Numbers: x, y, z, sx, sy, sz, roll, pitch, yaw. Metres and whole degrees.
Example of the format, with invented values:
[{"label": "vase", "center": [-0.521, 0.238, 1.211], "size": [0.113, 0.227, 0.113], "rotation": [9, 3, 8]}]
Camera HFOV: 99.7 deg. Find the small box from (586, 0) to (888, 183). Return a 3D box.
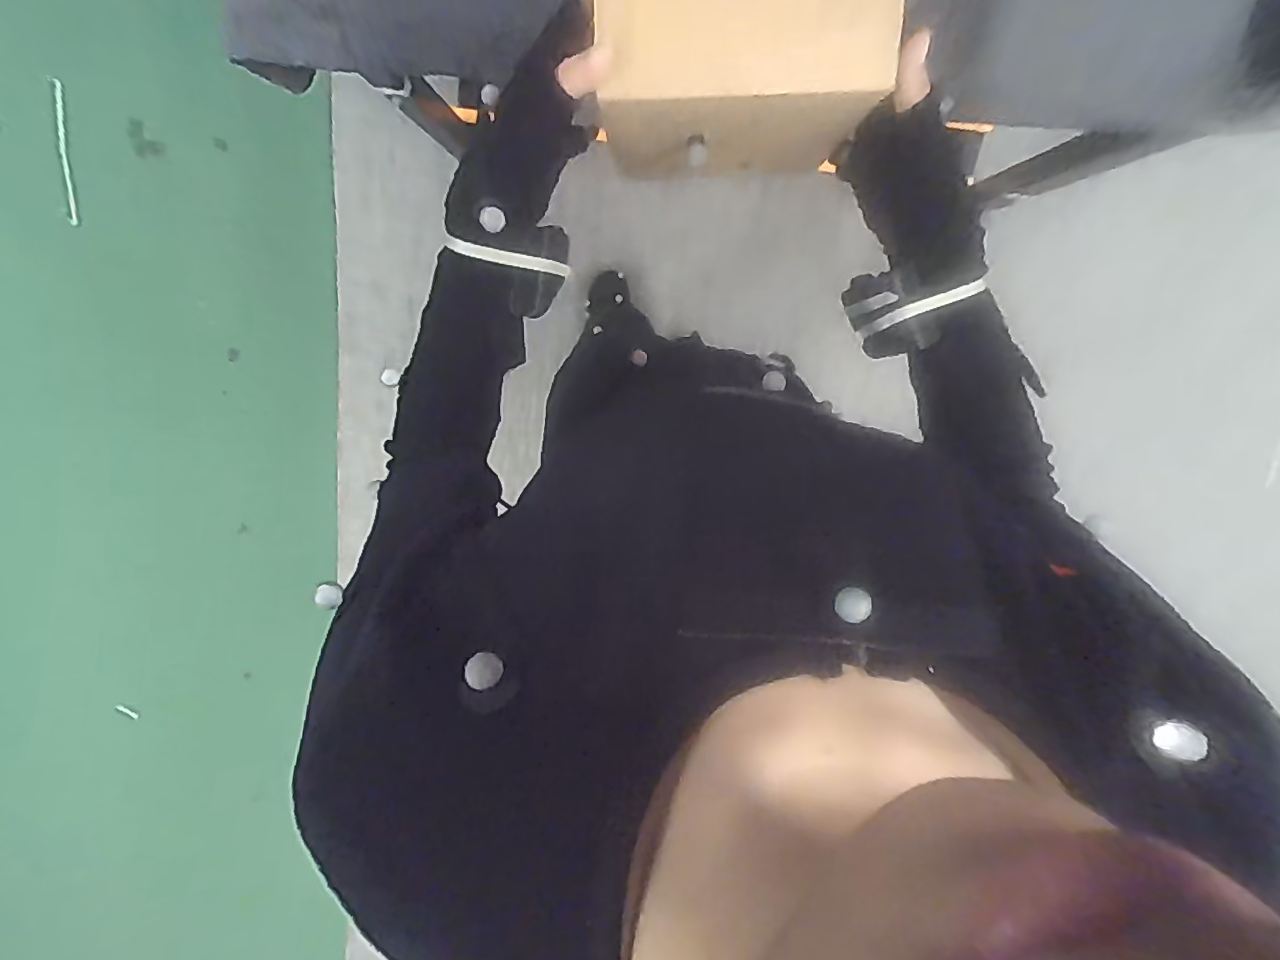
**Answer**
[{"label": "small box", "center": [0.056, -0.313, 0.362], "size": [0.168, 0.176, 0.179], "rotation": [-1, 103, 3]}]
